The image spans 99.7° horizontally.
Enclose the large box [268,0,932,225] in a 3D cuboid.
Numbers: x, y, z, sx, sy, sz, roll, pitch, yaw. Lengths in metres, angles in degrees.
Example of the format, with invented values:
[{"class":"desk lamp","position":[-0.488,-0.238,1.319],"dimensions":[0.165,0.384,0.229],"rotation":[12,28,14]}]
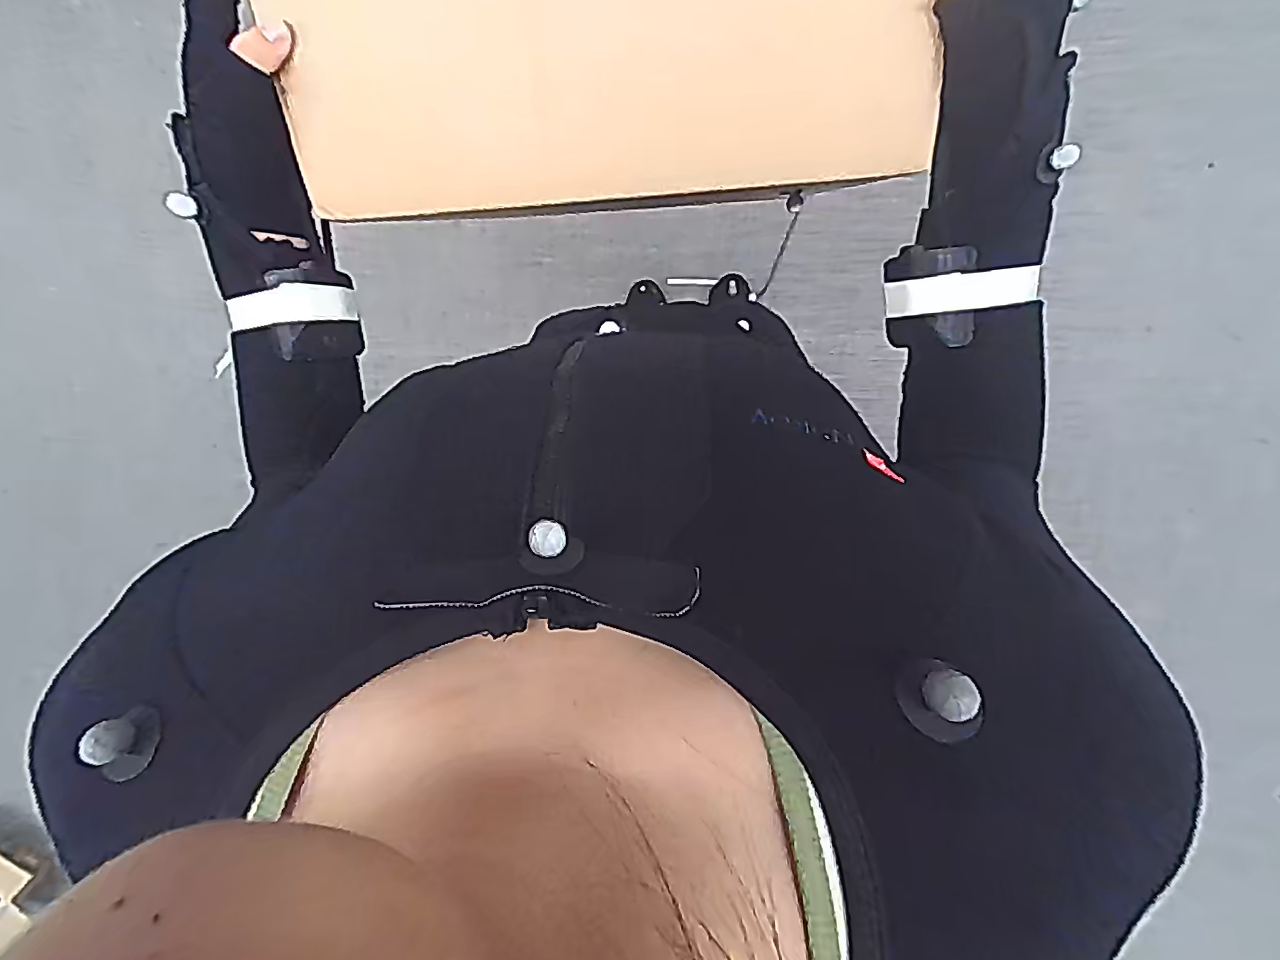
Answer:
[{"class":"large box","position":[-0.021,-0.397,0.434],"dimensions":[0.408,0.320,0.320],"rotation":[-2,115,6]}]
